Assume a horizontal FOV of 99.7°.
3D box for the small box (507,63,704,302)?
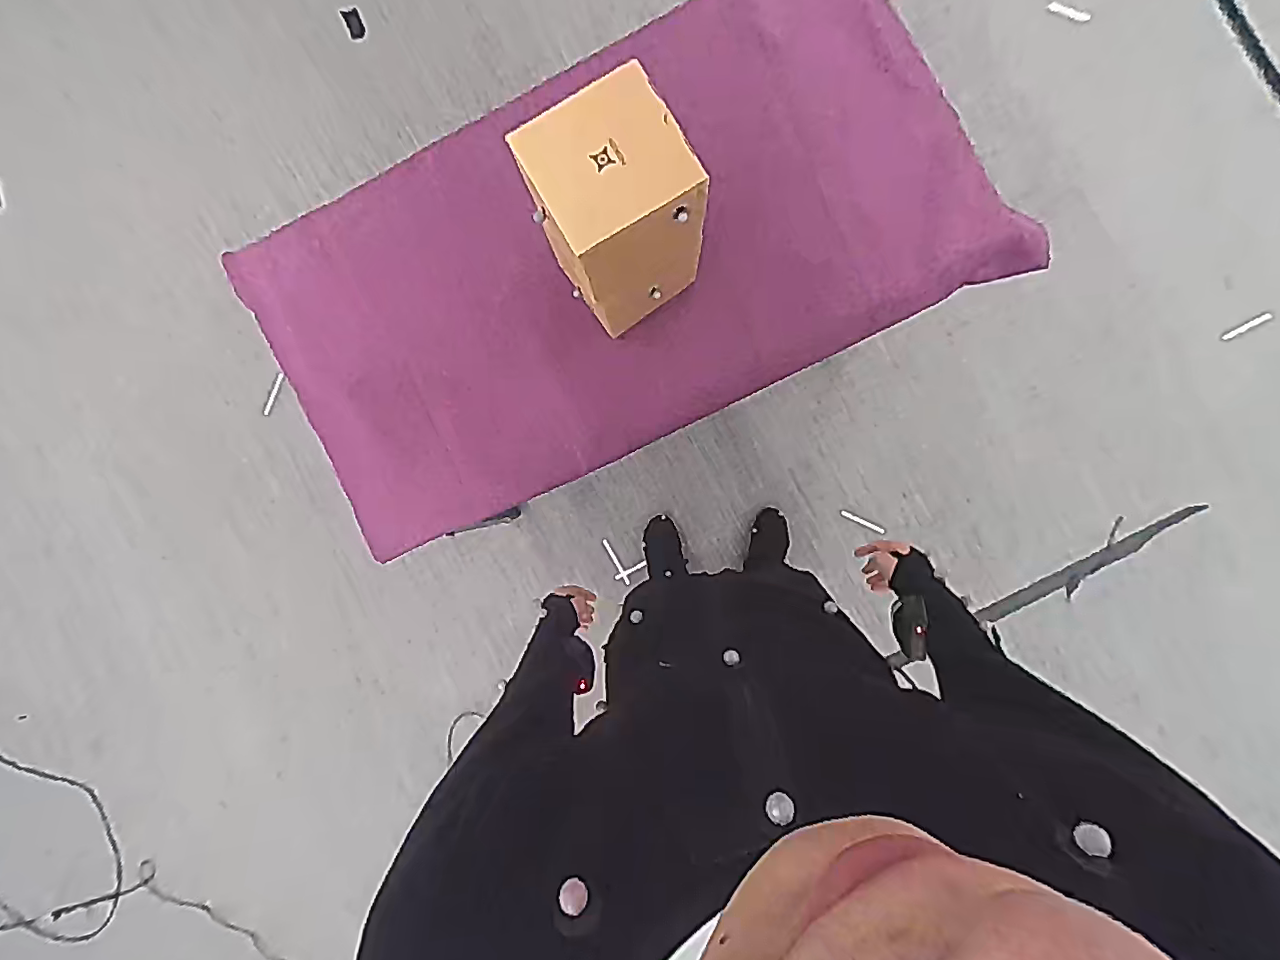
[{"bbox_3d":[-0.037,-0.359,0.691,0.179,0.176,0.168,-30,88,0],"label":"small box"}]
